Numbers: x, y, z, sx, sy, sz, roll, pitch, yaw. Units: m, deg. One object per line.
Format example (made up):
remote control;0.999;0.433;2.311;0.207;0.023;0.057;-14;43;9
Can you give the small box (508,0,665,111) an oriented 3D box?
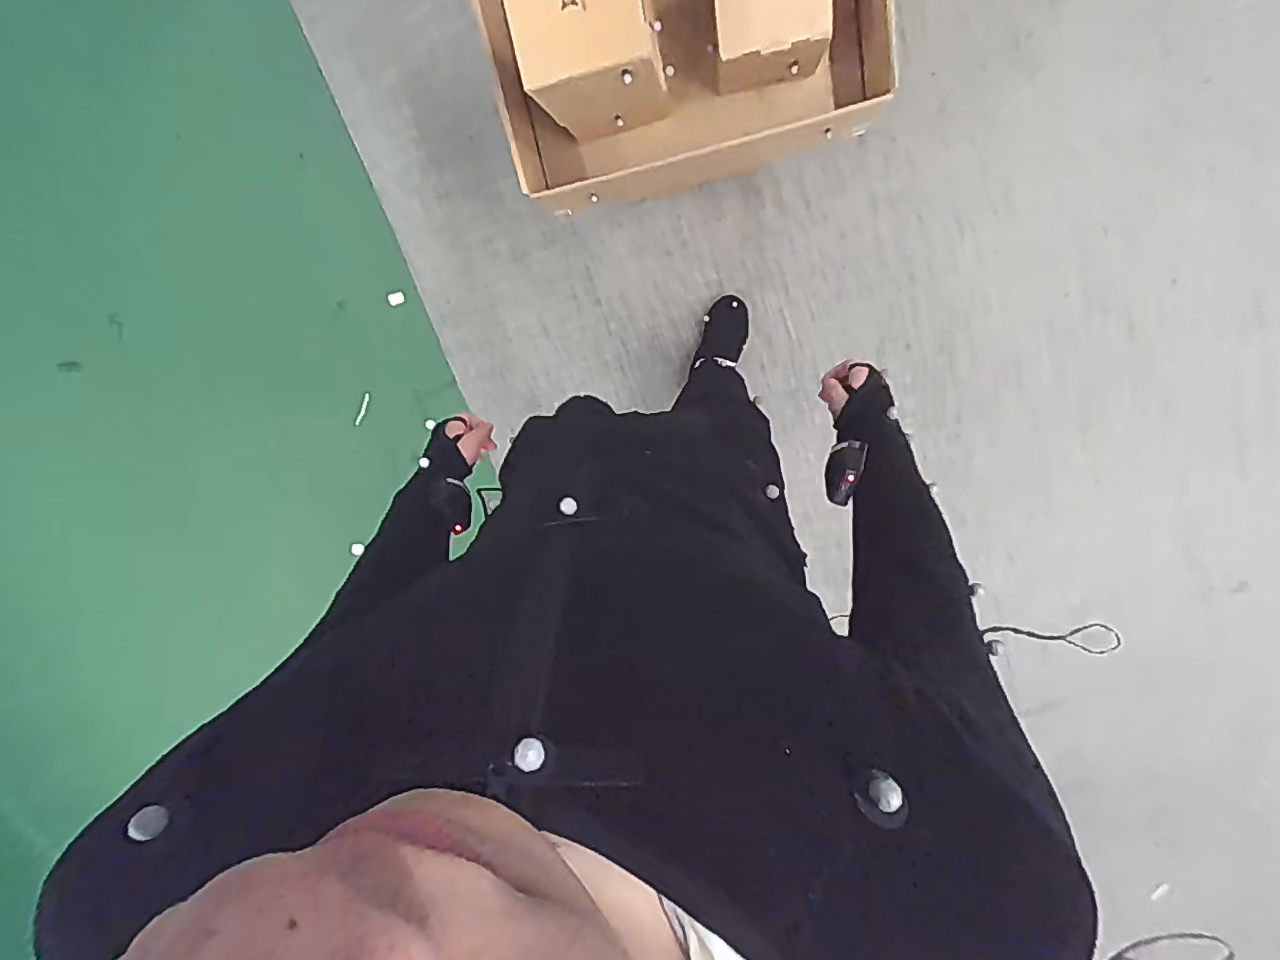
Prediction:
small box;-0.072;-0.643;0.746;0.179;0.176;0.168;-9;109;11
